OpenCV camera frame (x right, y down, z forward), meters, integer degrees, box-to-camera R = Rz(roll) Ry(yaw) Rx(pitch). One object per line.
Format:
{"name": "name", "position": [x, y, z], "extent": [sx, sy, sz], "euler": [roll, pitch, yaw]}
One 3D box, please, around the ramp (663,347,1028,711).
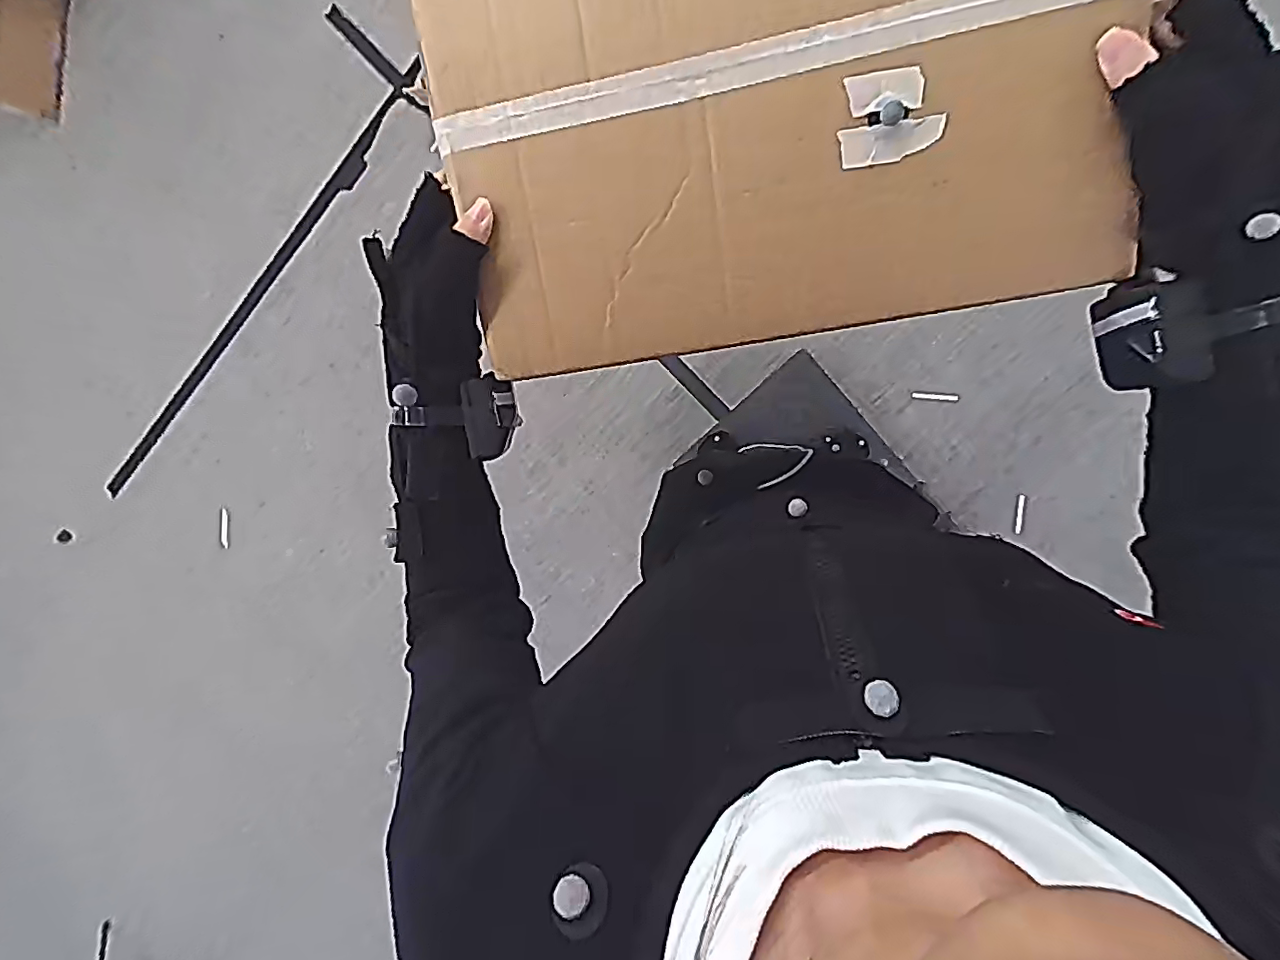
{"name": "ramp", "position": [0.572, 0.168, 1.479], "extent": [0.509, 0.206, 0.991], "euler": [-44, 88, 10]}

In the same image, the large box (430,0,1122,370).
{"name": "large box", "position": [0.088, -0.289, 0.474], "extent": [0.408, 0.320, 0.320], "euler": [-8, 104, 7]}
